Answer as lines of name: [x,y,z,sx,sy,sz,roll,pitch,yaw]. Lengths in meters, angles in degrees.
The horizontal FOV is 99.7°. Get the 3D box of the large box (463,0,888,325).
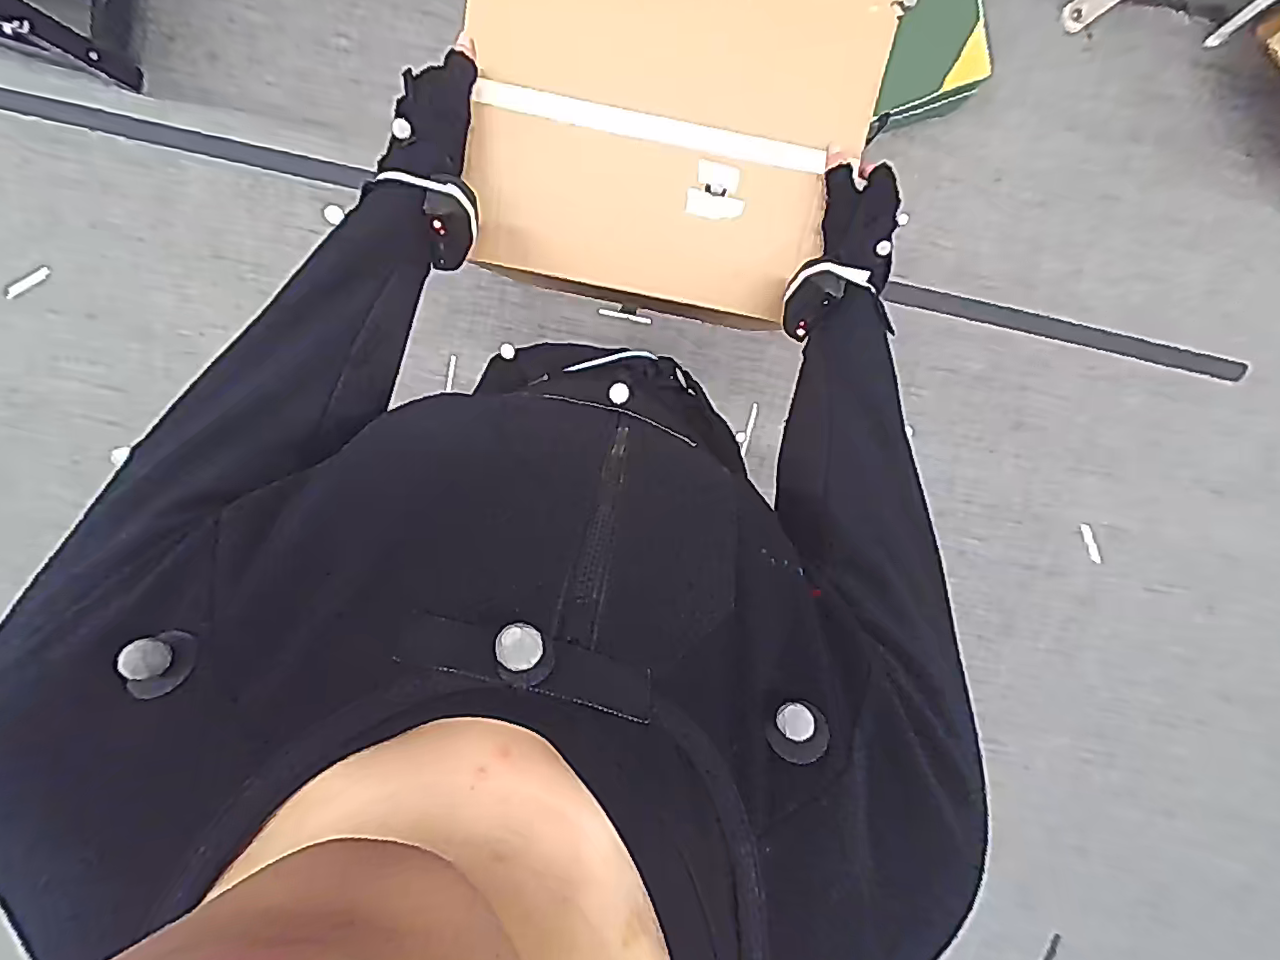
large box: [0.023,-0.395,0.705,0.408,0.320,0.320,10,106,-3]
